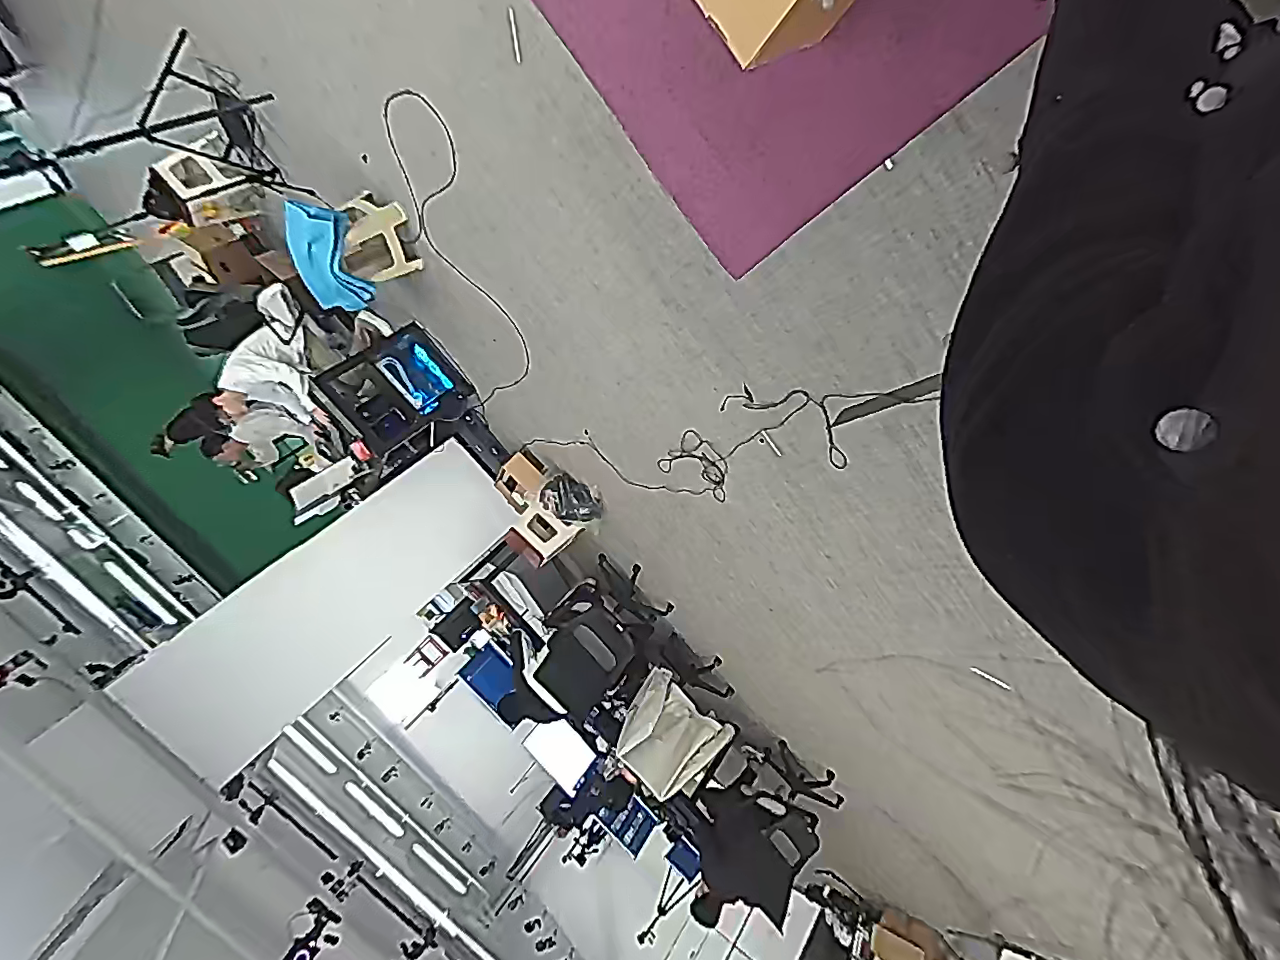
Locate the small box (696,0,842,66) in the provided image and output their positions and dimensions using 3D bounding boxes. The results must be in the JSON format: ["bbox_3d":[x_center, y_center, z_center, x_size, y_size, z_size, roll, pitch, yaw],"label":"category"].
[{"bbox_3d":[0.141,-0.539,0.491,0.168,0.176,0.179,51,150,-10],"label":"small box"}]
